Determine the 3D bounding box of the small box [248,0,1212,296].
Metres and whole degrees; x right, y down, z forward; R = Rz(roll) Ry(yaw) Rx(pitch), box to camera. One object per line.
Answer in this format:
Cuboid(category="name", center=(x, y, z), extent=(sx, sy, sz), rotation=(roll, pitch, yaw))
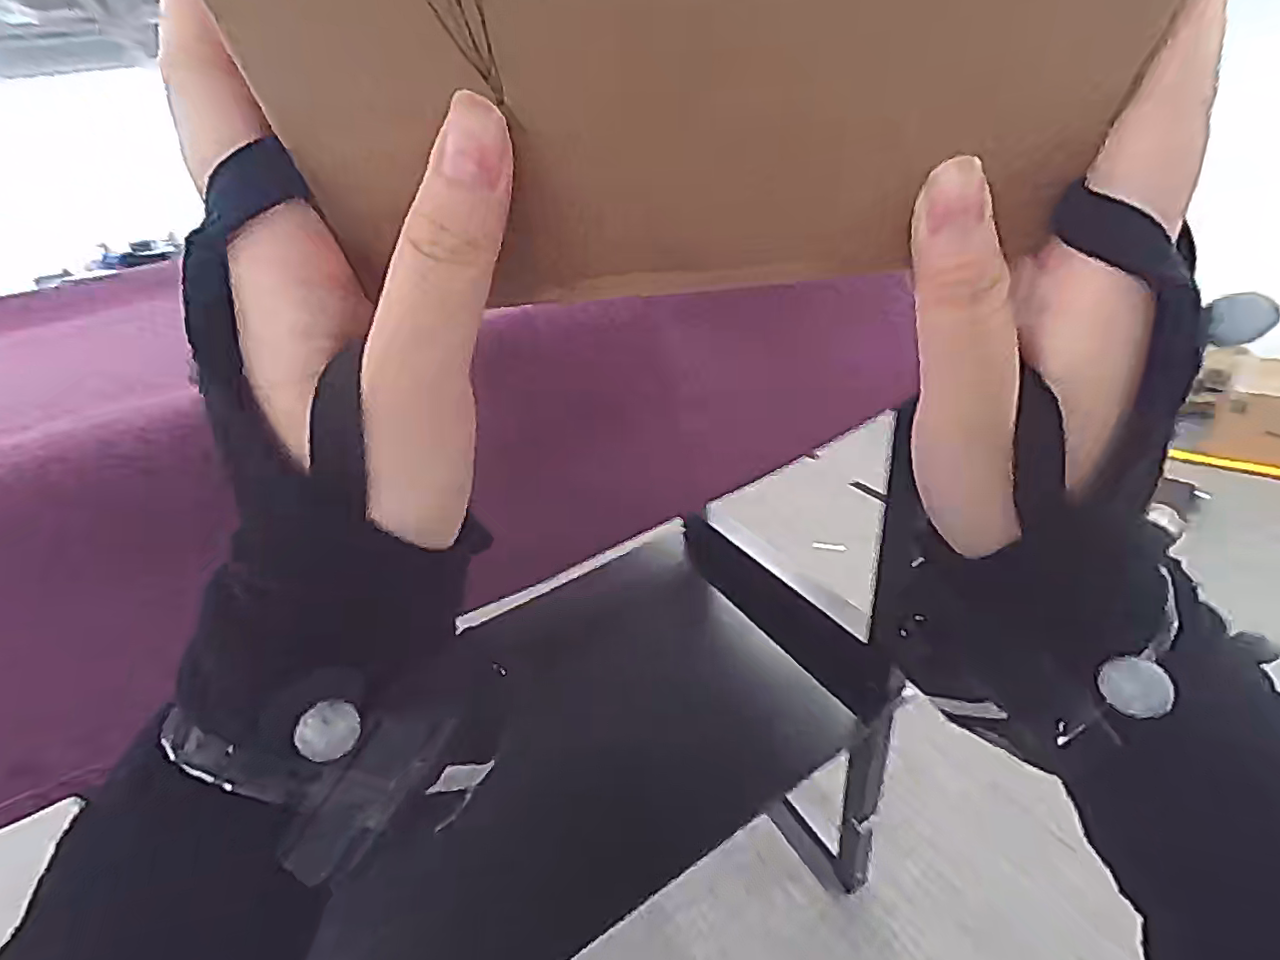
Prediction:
Cuboid(category="small box", center=(0.013, -0.166, 0.119), extent=(0.179, 0.168, 0.176), rotation=(-4, 55, 2))
